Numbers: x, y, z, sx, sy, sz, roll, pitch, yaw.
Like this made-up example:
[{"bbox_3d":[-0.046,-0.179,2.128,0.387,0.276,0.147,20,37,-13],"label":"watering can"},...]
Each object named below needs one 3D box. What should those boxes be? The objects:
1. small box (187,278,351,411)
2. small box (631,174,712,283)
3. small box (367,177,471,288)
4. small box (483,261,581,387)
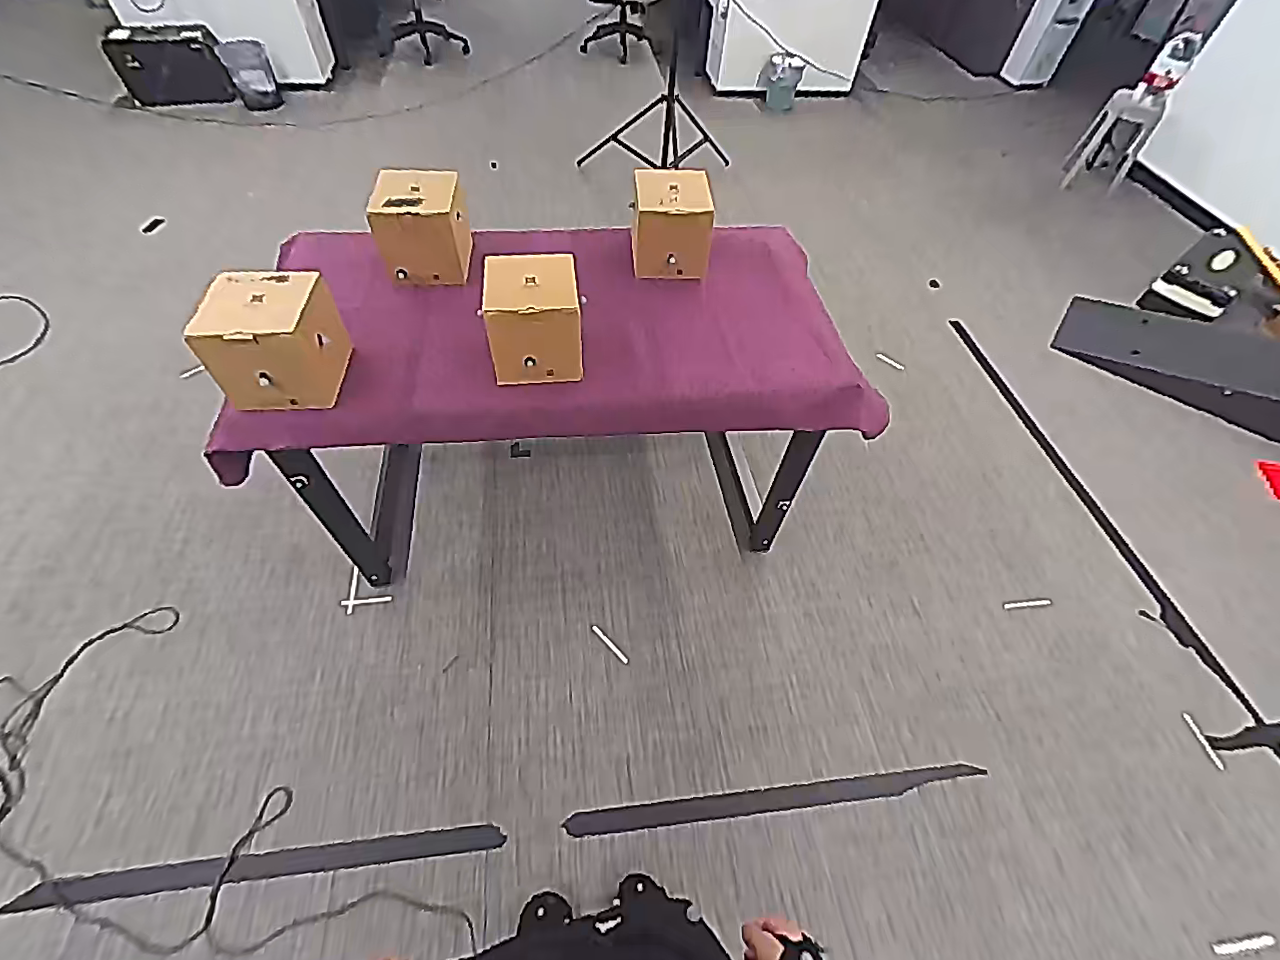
[{"bbox_3d":[-0.640,-0.236,0.962,0.168,0.176,0.179,-3,54,-7],"label":"small box"},{"bbox_3d":[0.066,-0.588,1.267,0.168,0.176,0.179,-2,56,-4],"label":"small box"},{"bbox_3d":[-0.479,-0.547,1.202,0.168,0.176,0.179,-2,55,-6],"label":"small box"},{"bbox_3d":[-0.203,-0.300,1.043,0.168,0.176,0.179,-5,53,-8],"label":"small box"}]
